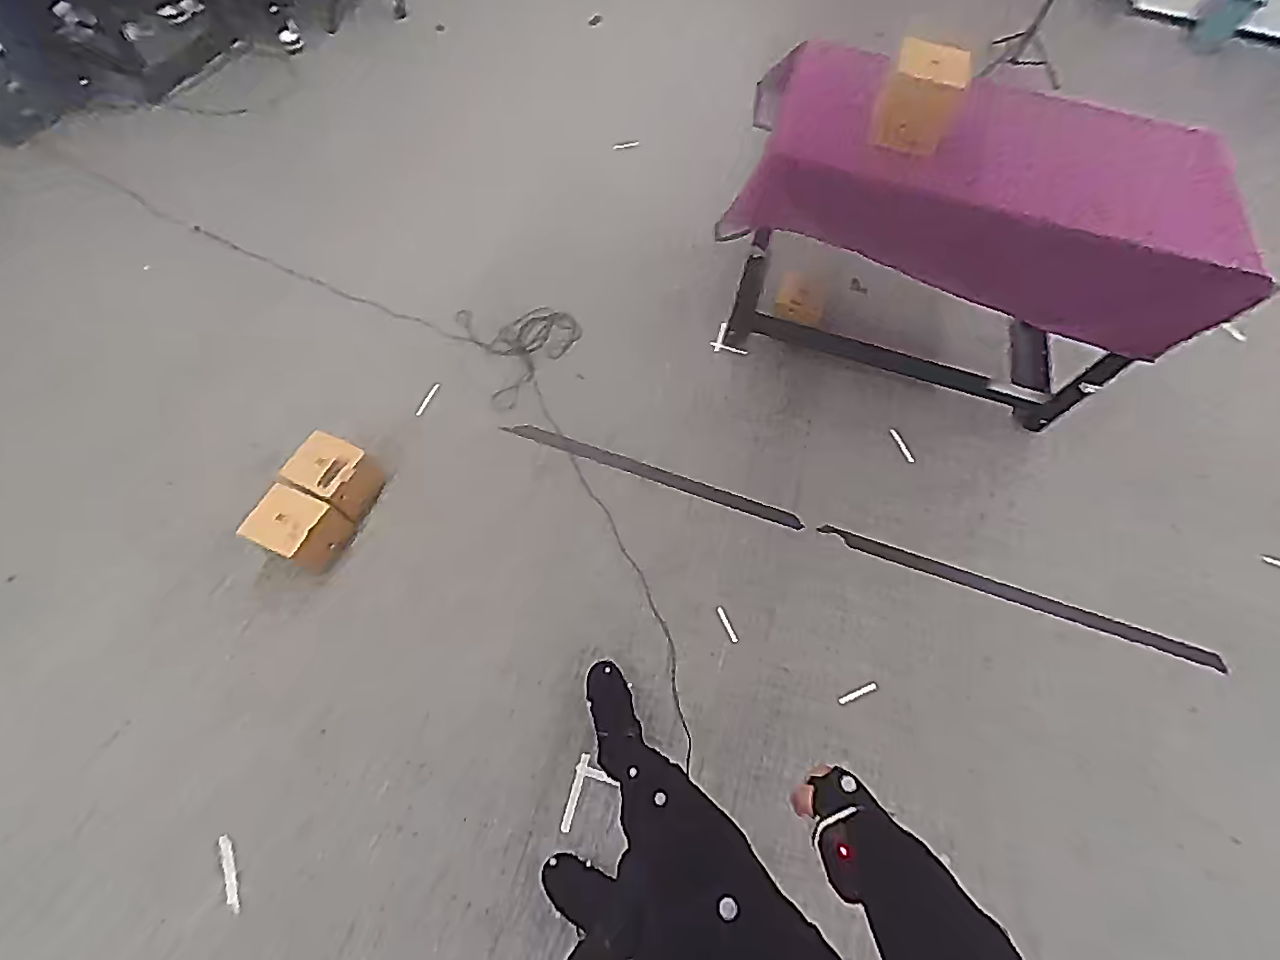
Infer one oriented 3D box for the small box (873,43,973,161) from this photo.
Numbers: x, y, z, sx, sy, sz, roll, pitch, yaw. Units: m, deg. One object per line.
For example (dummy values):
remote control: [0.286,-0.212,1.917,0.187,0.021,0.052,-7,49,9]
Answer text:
small box: [0.715,-0.957,1.376,0.168,0.176,0.179,18,64,5]
